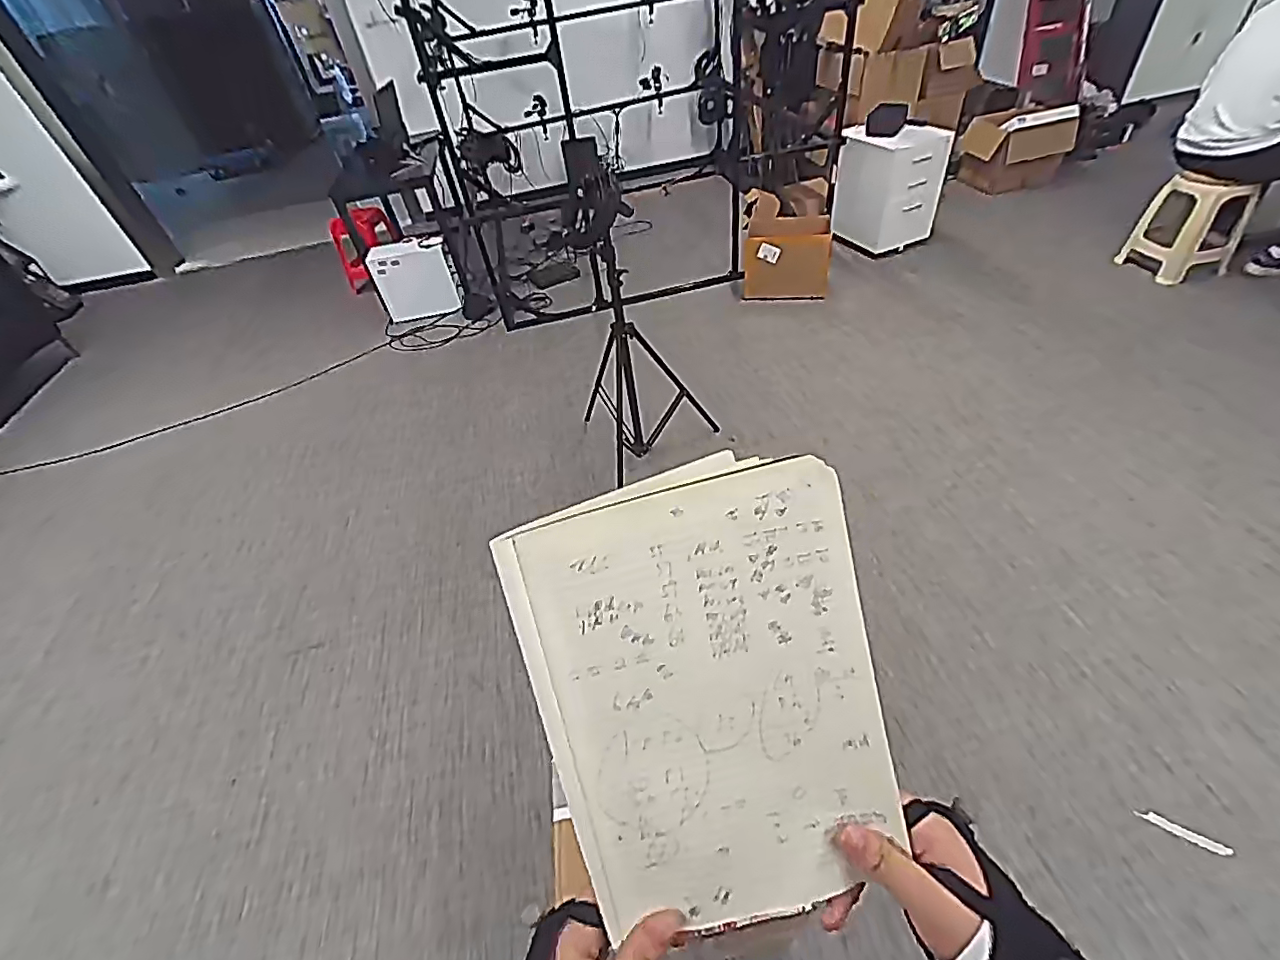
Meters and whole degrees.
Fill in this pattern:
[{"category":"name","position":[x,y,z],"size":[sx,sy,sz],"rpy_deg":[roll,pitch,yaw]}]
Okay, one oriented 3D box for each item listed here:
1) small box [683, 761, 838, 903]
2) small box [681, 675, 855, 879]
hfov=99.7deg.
[{"category":"small box","position":[0.172,0.515,0.829],"size":[0.179,0.176,0.168],"rpy_deg":[-14,45,-7]},{"category":"small box","position":[0.154,0.394,0.719],"size":[0.168,0.176,0.179],"rpy_deg":[-12,45,-6]}]
